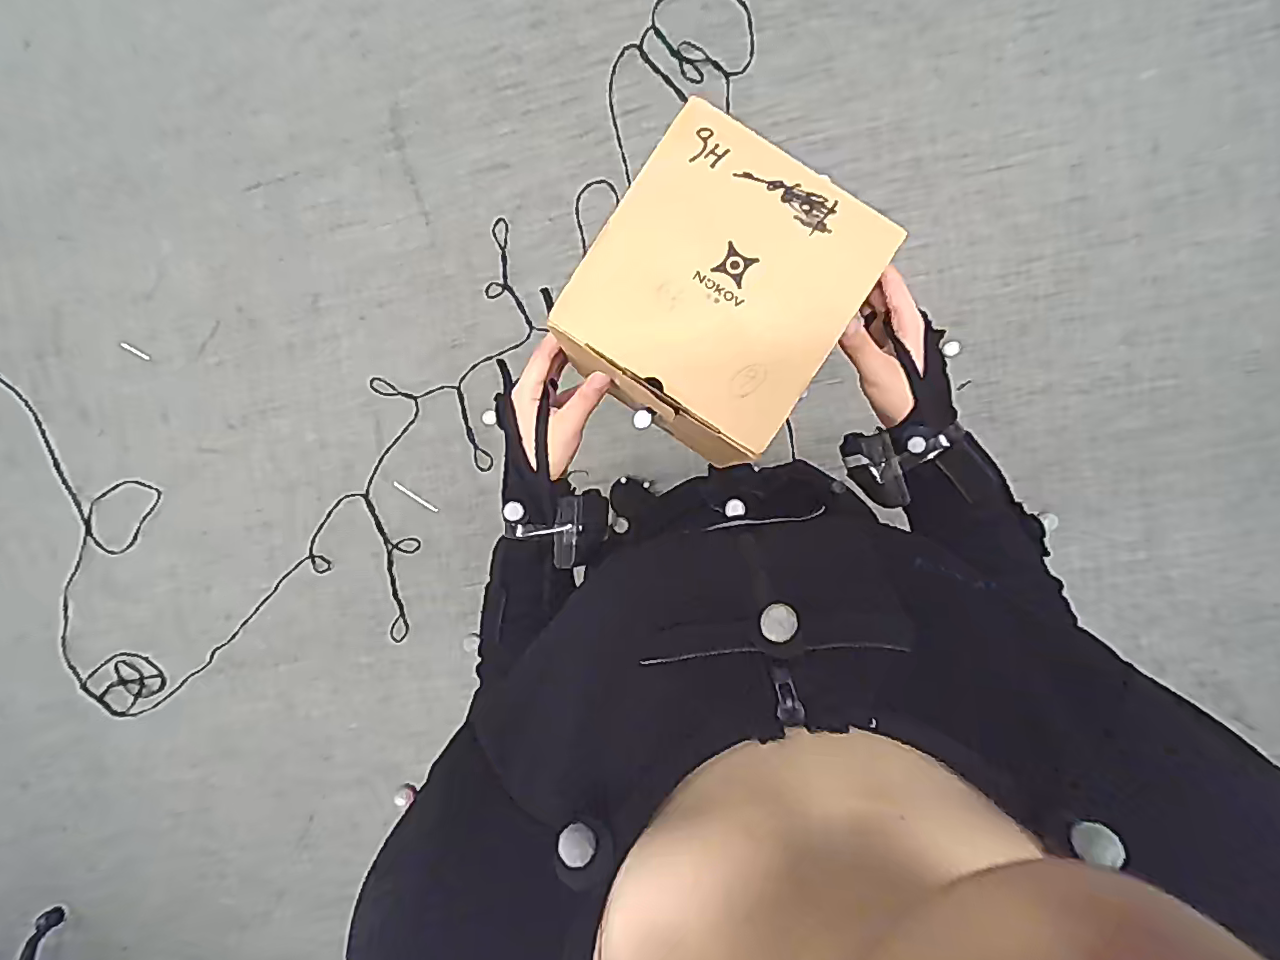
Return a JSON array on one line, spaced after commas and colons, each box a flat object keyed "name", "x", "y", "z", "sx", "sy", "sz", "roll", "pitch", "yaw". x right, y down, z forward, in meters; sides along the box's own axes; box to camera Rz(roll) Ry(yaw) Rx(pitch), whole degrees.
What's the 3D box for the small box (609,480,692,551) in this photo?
[{"name": "small box", "x": 0.028, "y": 0.084, "z": 1.331, "sx": 0.179, "sy": 0.176, "sz": 0.168, "roll": 0, "pitch": 89, "yaw": 17}]
